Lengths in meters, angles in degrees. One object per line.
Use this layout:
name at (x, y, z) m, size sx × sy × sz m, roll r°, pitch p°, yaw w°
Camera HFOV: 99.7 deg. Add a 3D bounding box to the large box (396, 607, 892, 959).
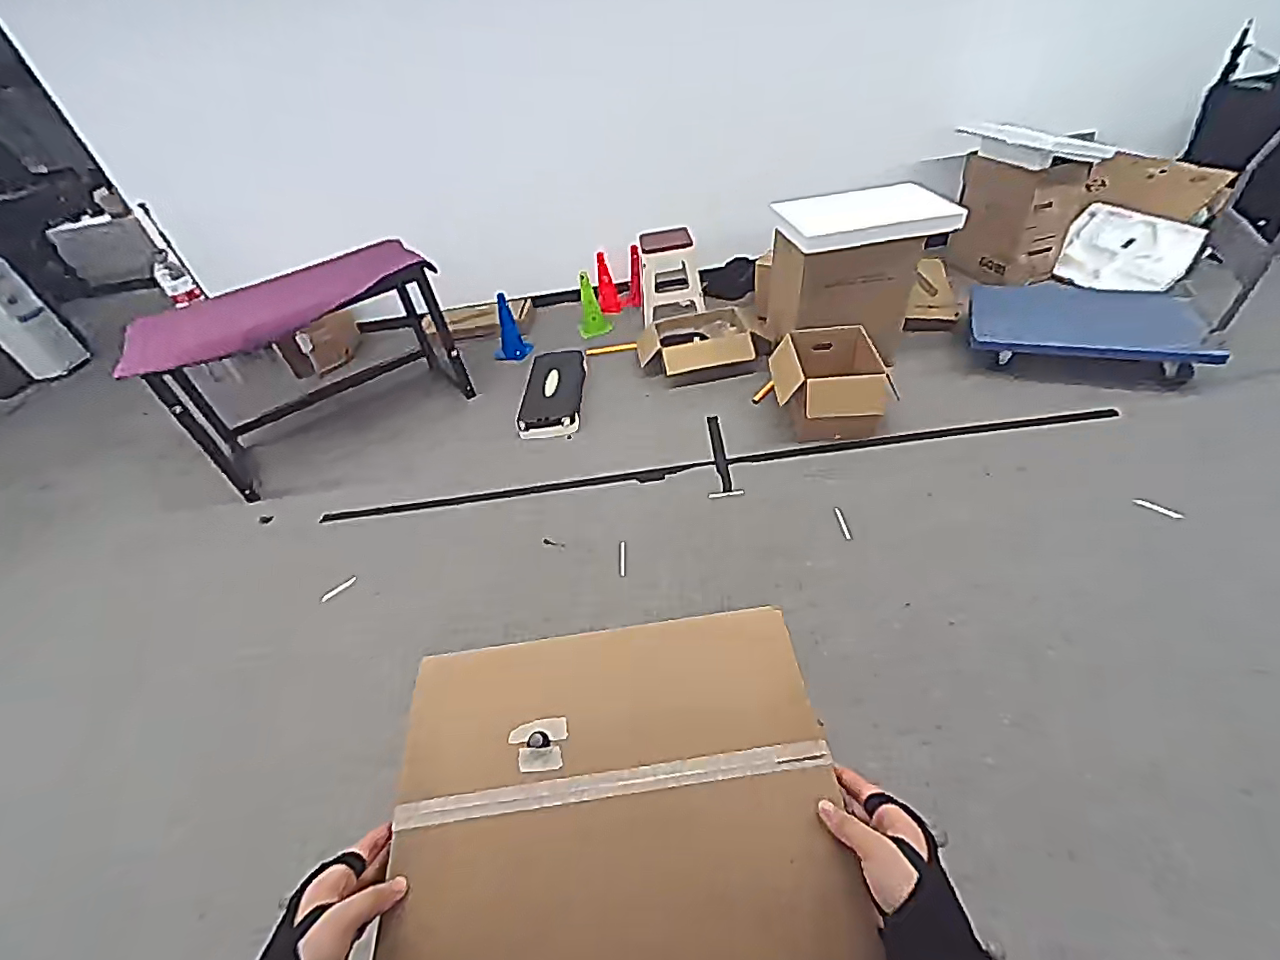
large box at (0.000, 0.386, 0.622) m, size 0.408 × 0.320 × 0.320 m, roll -9°, pitch 47°, yaw 0°
